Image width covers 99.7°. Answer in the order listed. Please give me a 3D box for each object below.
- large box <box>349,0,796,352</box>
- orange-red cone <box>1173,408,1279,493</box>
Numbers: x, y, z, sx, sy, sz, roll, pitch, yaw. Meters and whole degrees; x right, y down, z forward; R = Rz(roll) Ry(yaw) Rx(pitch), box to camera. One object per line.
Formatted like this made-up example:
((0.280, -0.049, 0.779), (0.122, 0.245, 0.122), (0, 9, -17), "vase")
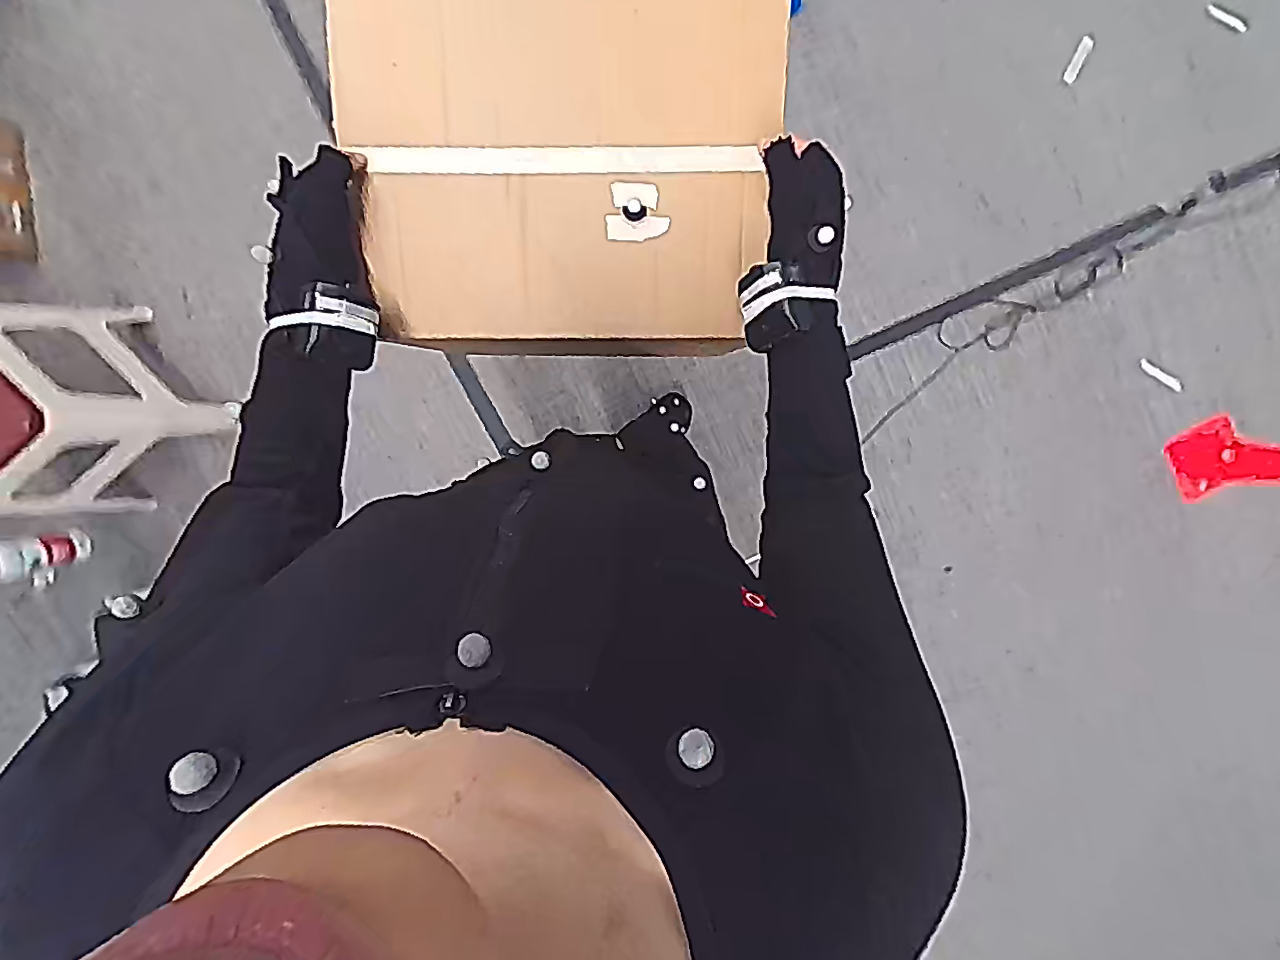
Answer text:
((-0.063, -0.322, 0.645), (0.408, 0.320, 0.320), (1, 100, -1), "large box")
((1.624, -0.060, 1.357), (0.199, 0.360, 0.198), (-28, 99, 0), "orange-red cone")
